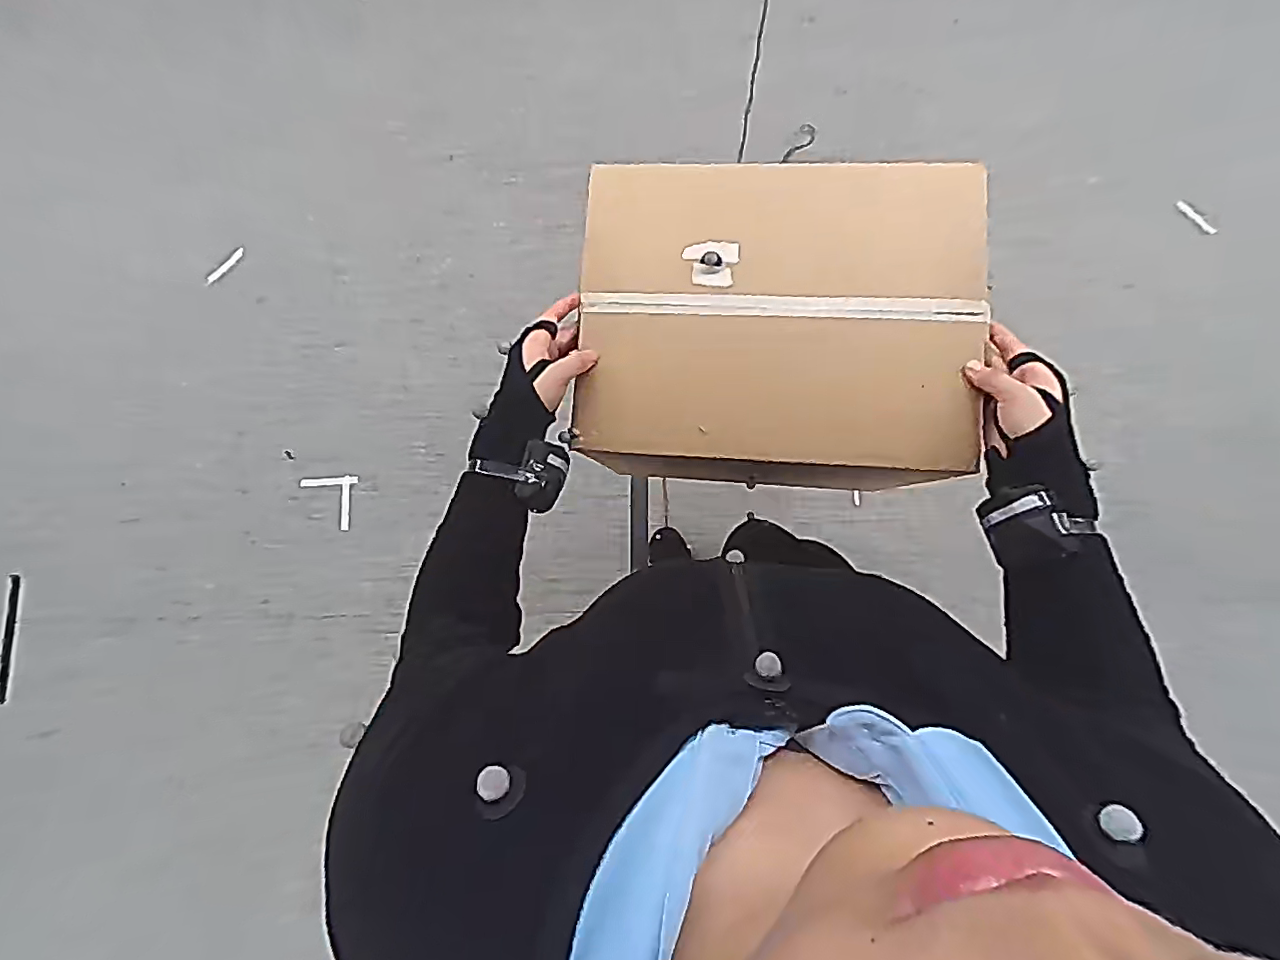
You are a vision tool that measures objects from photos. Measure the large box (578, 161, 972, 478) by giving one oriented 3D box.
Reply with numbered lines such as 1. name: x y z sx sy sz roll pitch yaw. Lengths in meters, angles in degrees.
1. large box: 0.154 -0.168 0.713 0.408 0.320 0.320 2 84 7
